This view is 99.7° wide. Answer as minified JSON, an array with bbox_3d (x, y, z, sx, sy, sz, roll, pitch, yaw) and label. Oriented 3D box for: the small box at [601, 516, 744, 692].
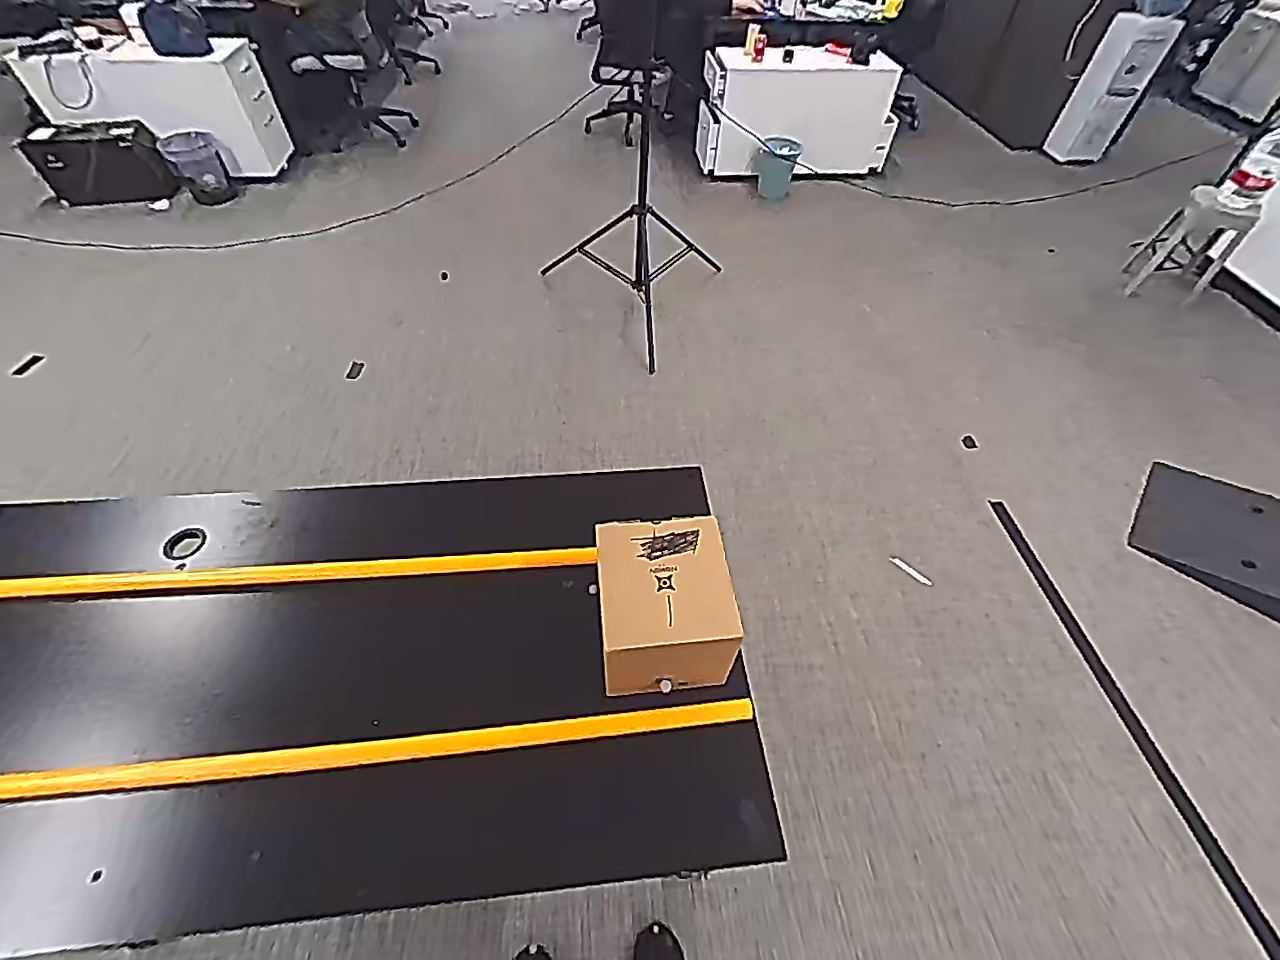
[{"bbox_3d":[0.032,0.171,0.743,0.168,0.176,0.179,-4,52,-5],"label":"small box"}]
